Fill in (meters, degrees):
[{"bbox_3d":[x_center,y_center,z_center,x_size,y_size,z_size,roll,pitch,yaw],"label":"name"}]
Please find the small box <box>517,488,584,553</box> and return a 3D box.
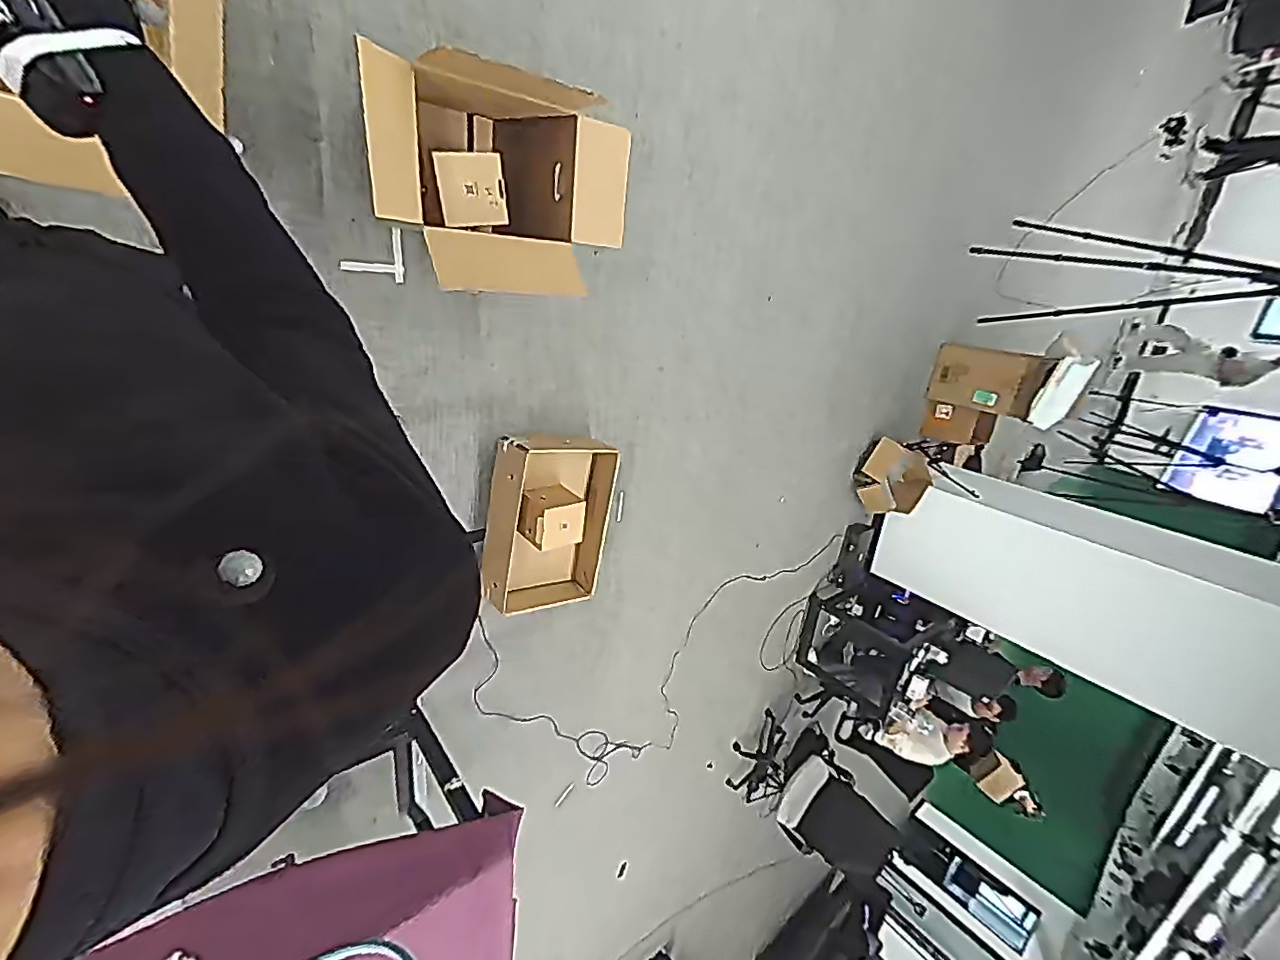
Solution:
[{"bbox_3d":[-0.326,0.138,1.937,0.179,0.176,0.168,-9,117,-40],"label":"small box"}]
